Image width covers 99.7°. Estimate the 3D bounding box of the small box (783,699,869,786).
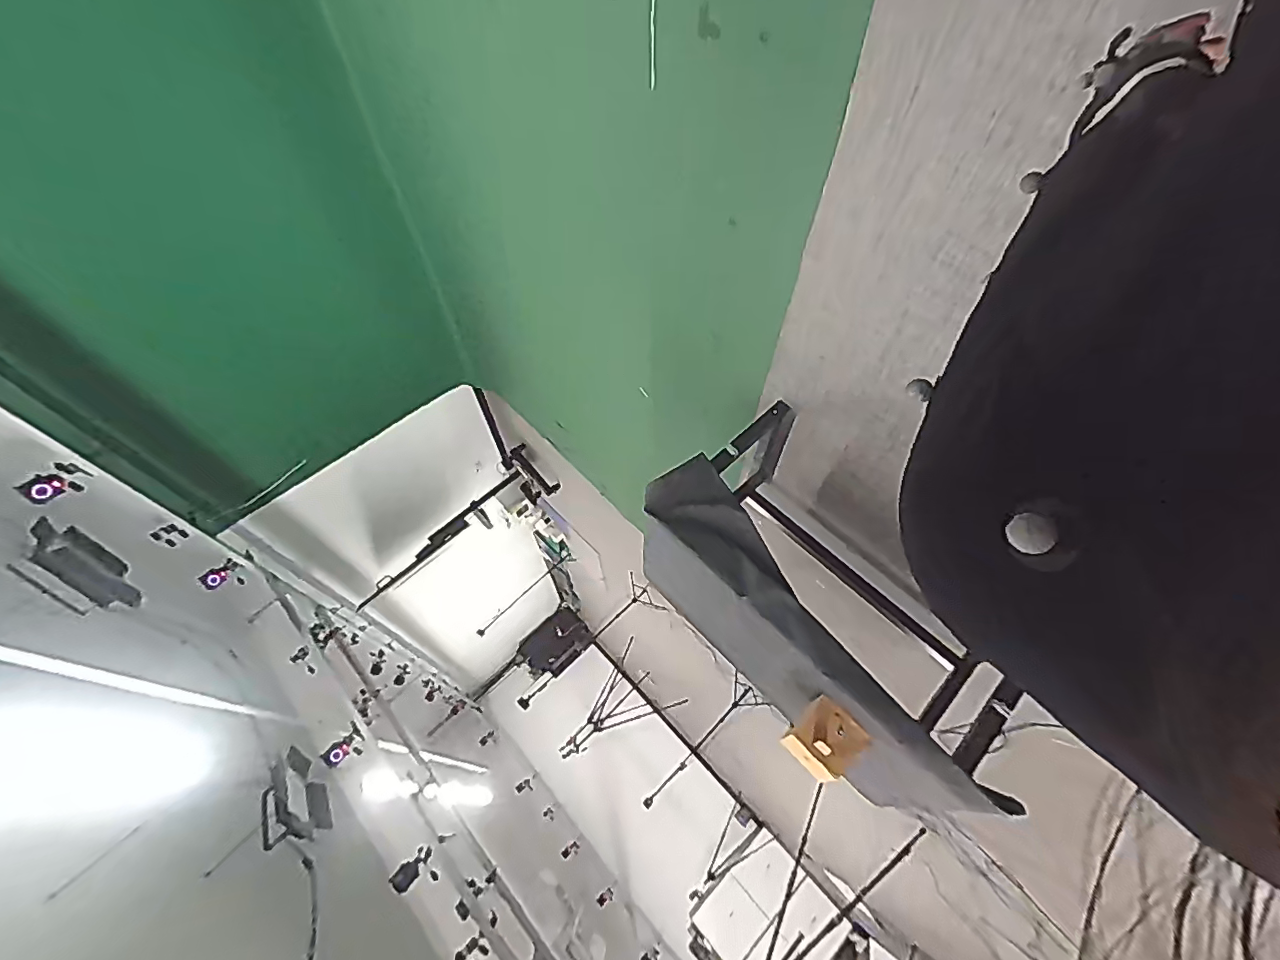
[{"bbox_3d":[0.571,0.806,1.662,0.168,0.176,0.179,42,157,23],"label":"small box"}]
